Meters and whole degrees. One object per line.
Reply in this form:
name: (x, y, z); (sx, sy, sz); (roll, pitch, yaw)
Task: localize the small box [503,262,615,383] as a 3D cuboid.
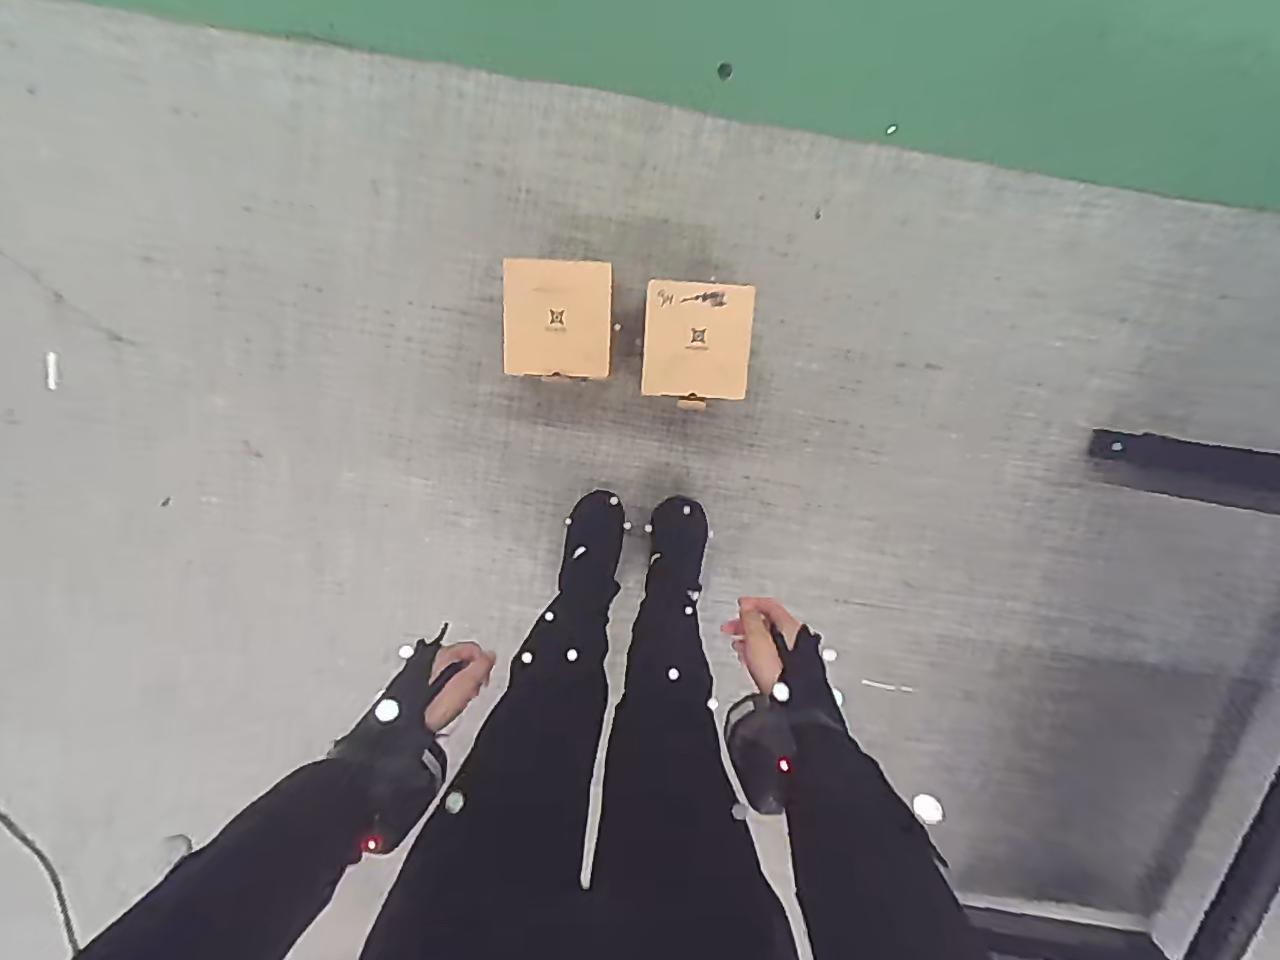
small box: (-0.129, -0.258, 0.910); (0.168, 0.176, 0.179); (2, 101, -1)
